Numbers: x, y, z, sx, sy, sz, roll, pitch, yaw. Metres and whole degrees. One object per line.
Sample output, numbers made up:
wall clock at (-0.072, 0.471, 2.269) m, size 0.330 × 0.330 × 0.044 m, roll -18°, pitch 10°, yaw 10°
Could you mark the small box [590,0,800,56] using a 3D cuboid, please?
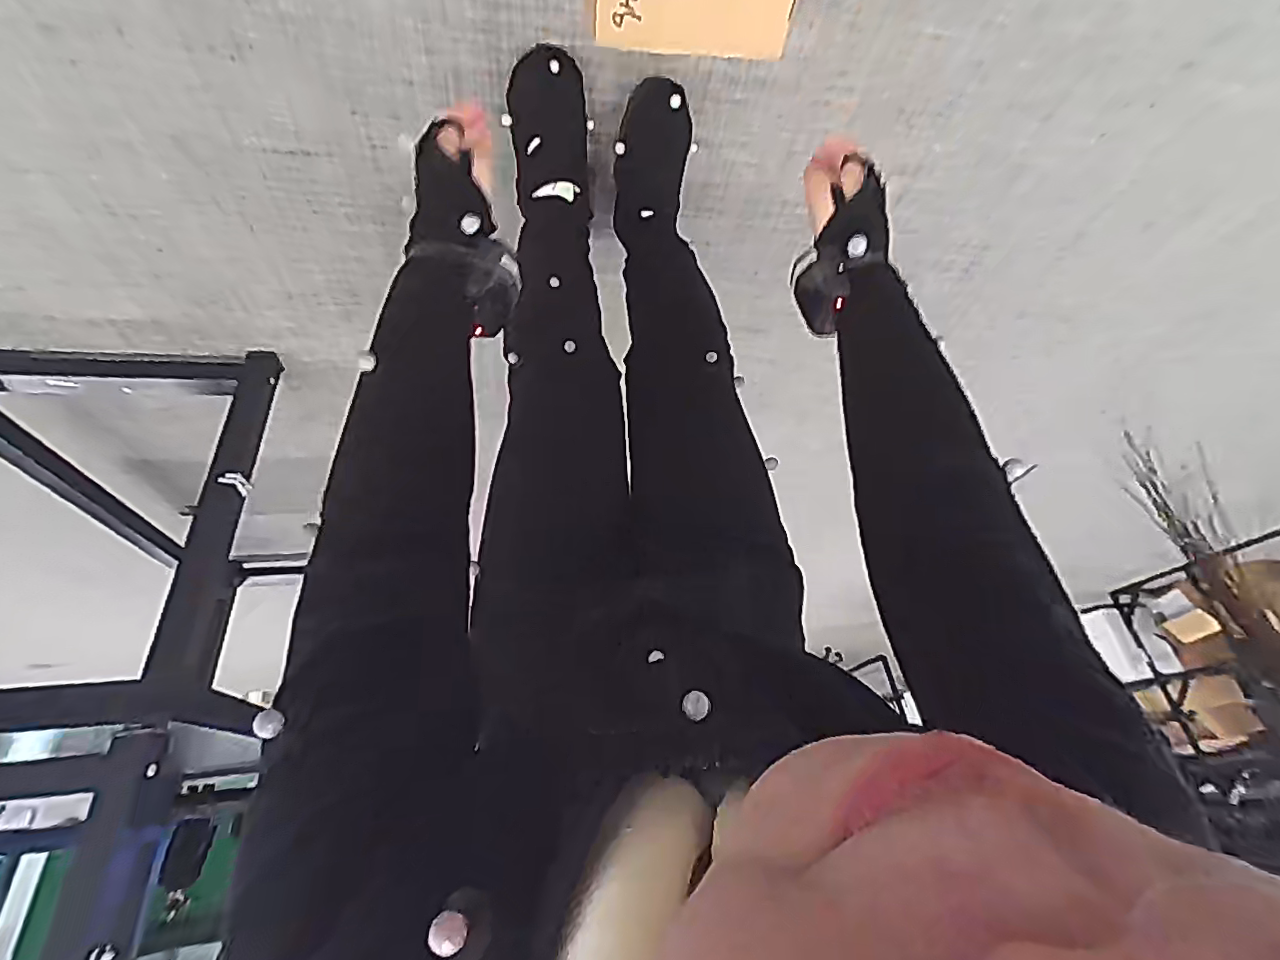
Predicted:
small box at (0.046, -0.496, 0.455) m, size 0.179 × 0.176 × 0.168 m, roll -4°, pitch 150°, yaw -10°
